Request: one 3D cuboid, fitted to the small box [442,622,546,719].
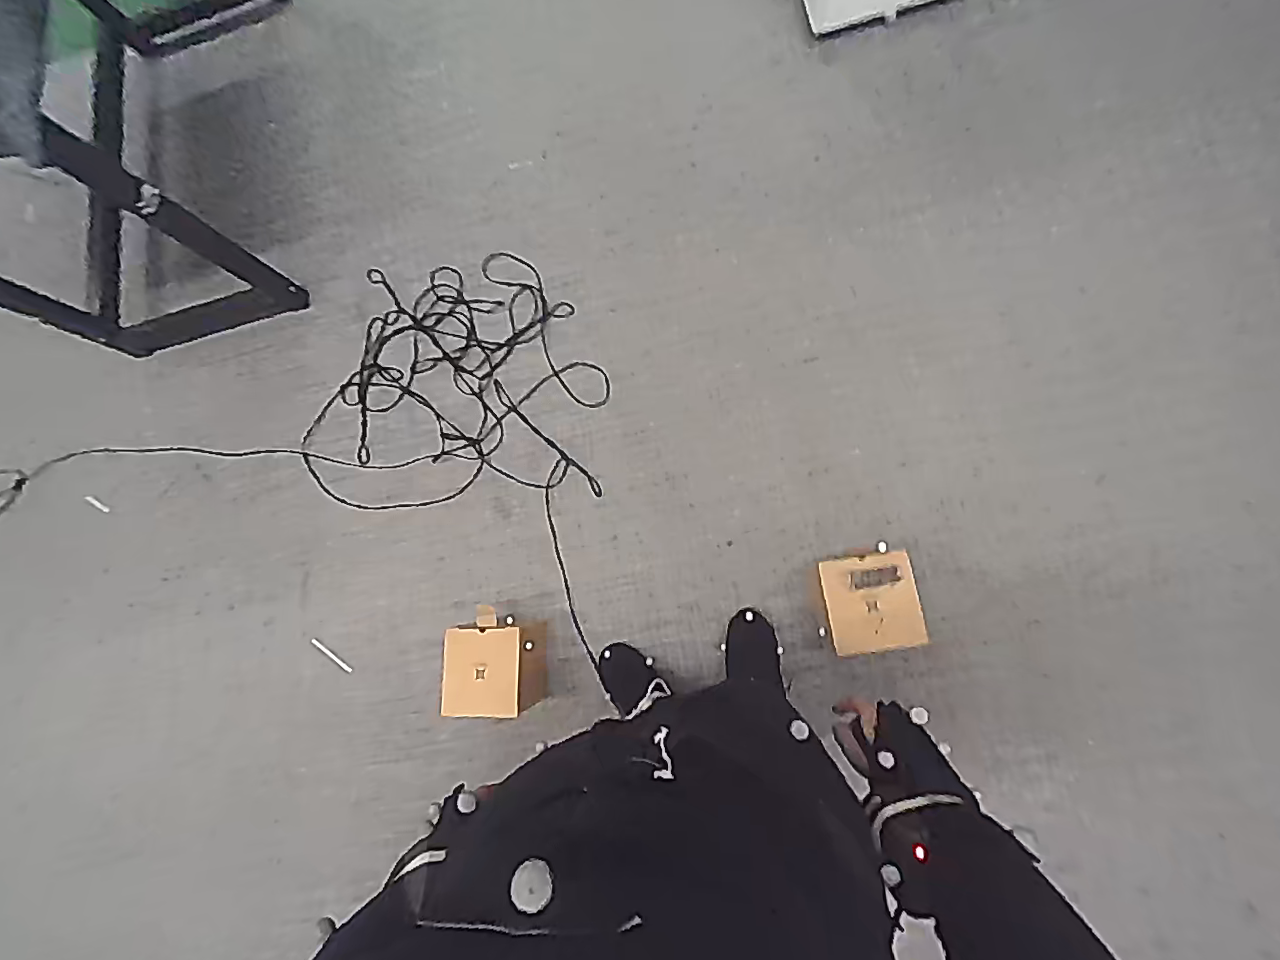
[{"bbox_3d":[-0.308,0.404,1.170,0.168,0.176,0.179,-3,78,9],"label":"small box"}]
